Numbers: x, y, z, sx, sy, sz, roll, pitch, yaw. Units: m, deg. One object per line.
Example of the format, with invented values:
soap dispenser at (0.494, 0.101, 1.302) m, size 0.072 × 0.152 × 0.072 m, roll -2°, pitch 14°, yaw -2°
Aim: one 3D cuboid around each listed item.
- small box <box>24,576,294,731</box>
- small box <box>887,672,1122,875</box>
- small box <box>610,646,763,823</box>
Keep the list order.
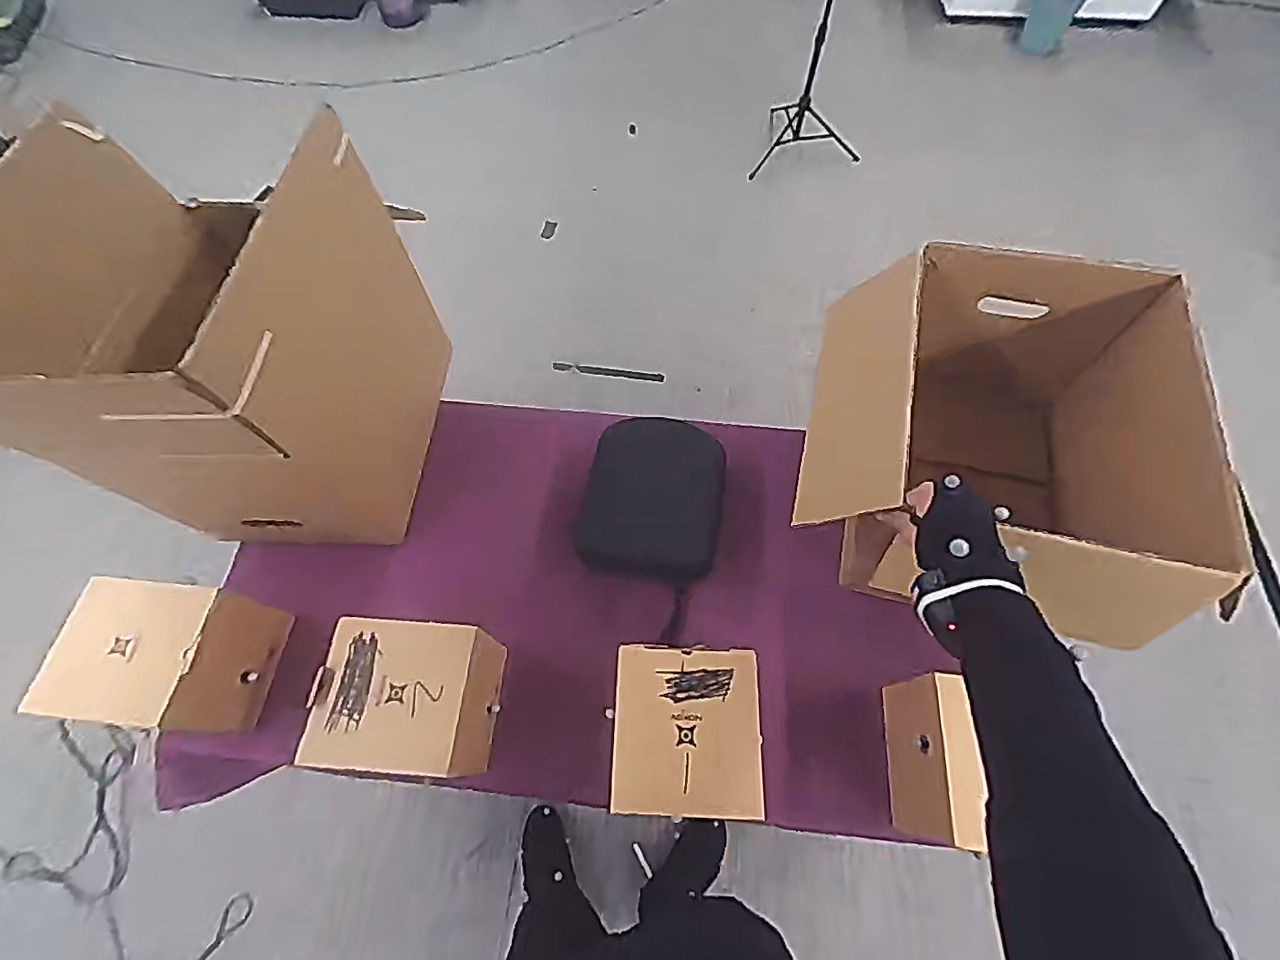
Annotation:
small box at (-0.623, 0.240, 0.730) m, size 0.179 × 0.176 × 0.168 m, roll 5°, pitch 64°, yaw 2°
small box at (0.413, 0.345, 0.653) m, size 0.168 × 0.176 × 0.179 m, roll 6°, pitch 64°, yaw 5°
small box at (0.054, 0.315, 0.678) m, size 0.168 × 0.176 × 0.179 m, roll 1°, pitch 65°, yaw 2°
